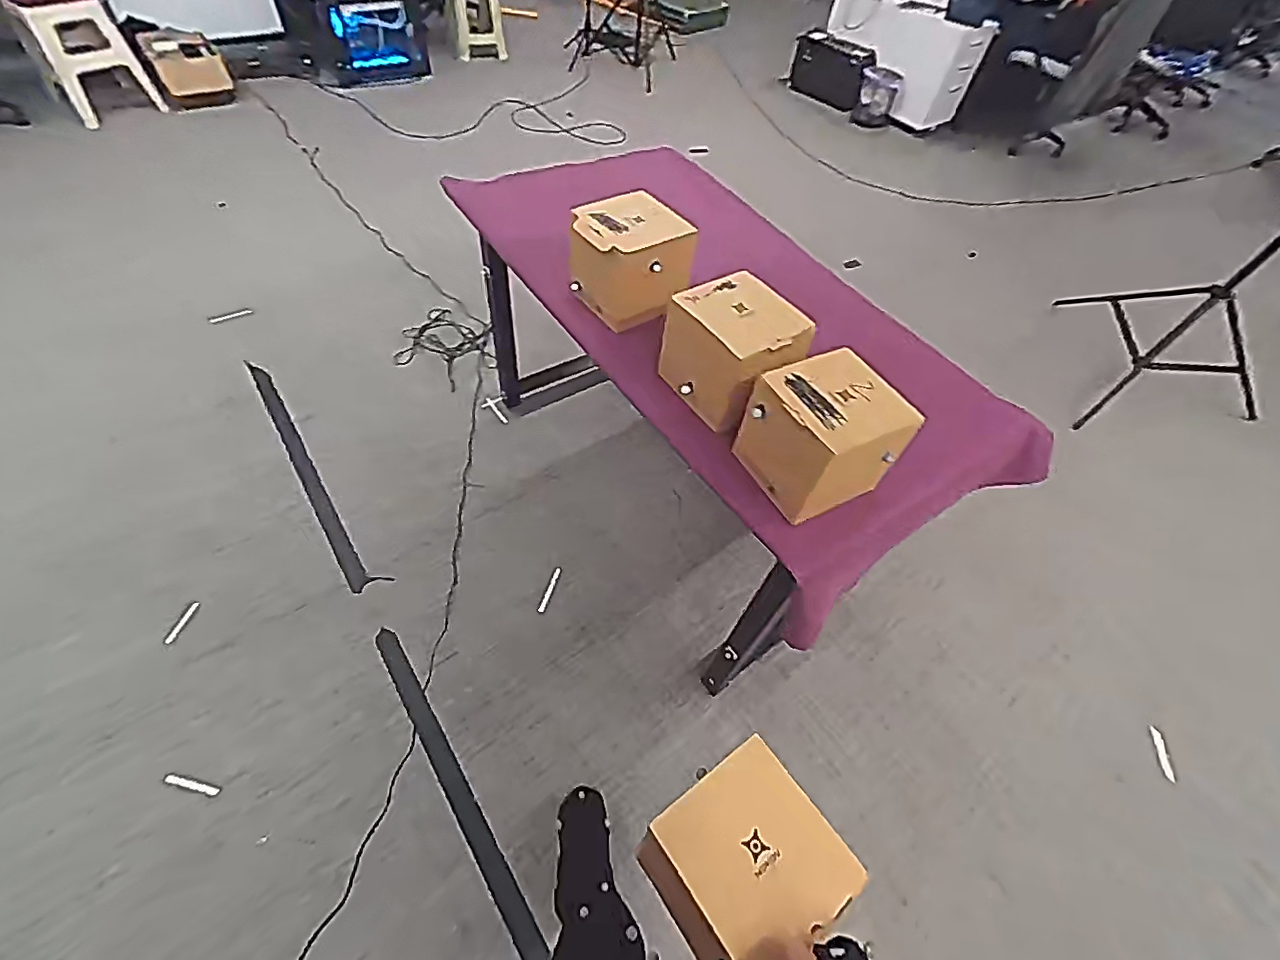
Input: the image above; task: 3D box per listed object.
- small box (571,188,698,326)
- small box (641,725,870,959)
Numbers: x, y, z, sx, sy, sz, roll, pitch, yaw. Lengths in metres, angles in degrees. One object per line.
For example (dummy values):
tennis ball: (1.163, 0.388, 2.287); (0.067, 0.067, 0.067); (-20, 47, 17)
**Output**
small box: (-0.016, -0.425, 1.041); (0.179, 0.176, 0.168); (-30, 63, -26)
small box: (0.117, 0.431, 0.626); (0.168, 0.176, 0.179); (-27, 57, -28)
